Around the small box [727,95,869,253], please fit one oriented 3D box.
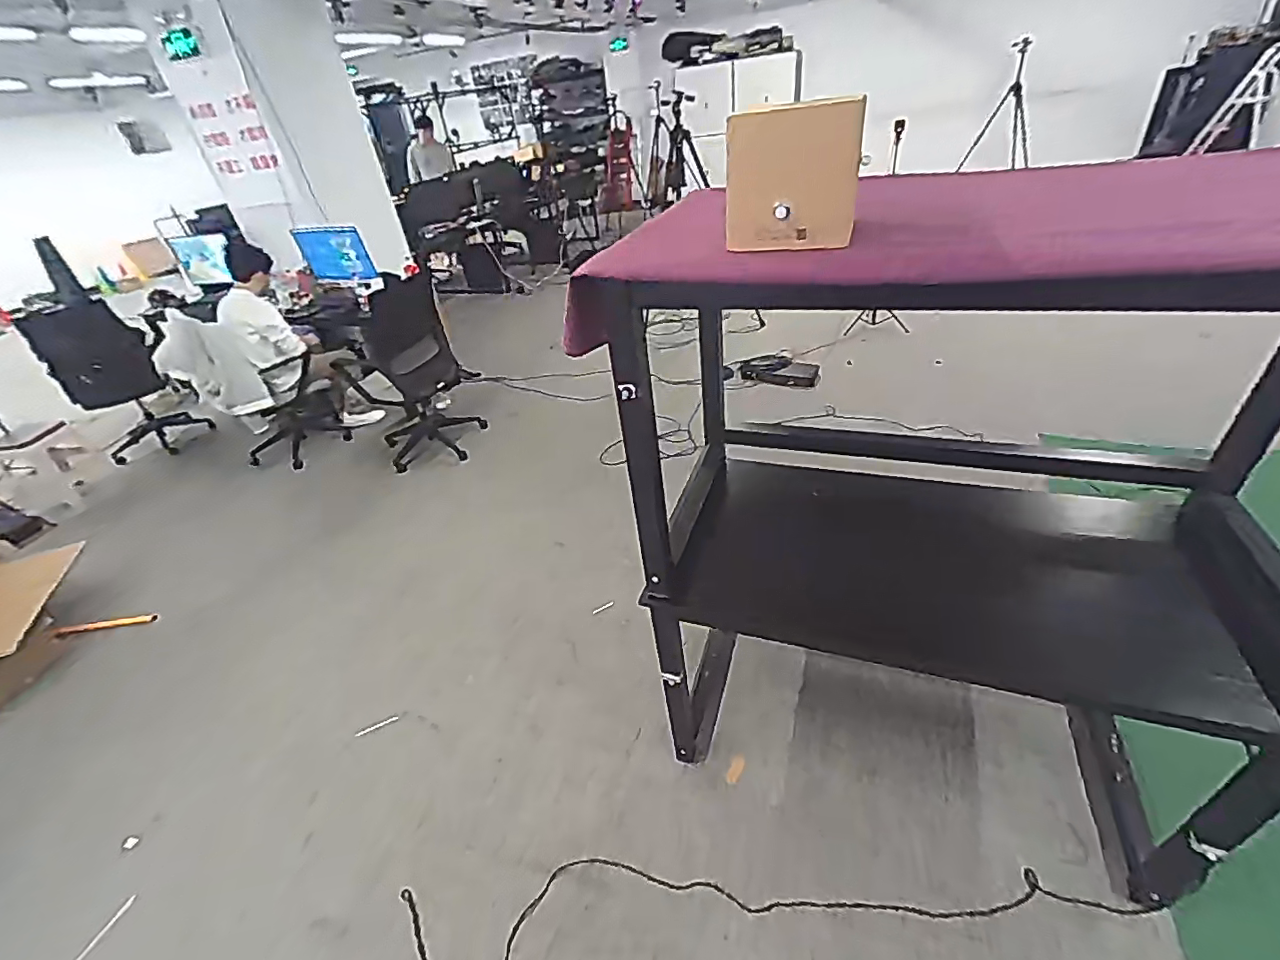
[{"bbox_3d":[0.222,-0.430,0.763,0.168,0.176,0.179,7,38,20],"label":"small box"}]
